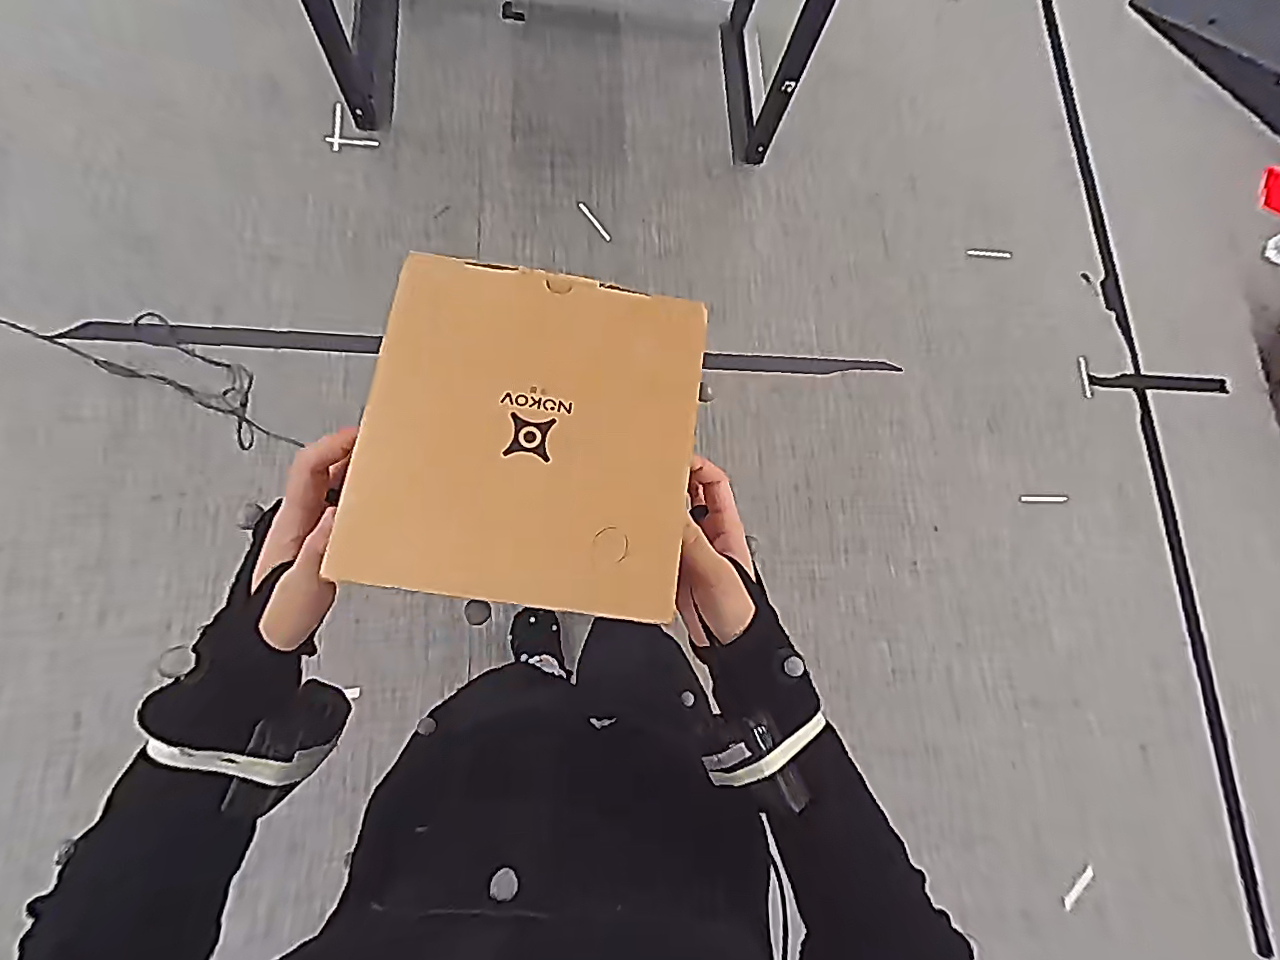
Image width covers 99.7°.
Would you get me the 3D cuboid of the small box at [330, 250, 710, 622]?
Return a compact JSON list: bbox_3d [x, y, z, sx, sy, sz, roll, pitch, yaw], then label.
[{"bbox_3d":[-0.060,-0.009,0.349,0.168,0.176,0.179,9,76,-5],"label":"small box"}]
